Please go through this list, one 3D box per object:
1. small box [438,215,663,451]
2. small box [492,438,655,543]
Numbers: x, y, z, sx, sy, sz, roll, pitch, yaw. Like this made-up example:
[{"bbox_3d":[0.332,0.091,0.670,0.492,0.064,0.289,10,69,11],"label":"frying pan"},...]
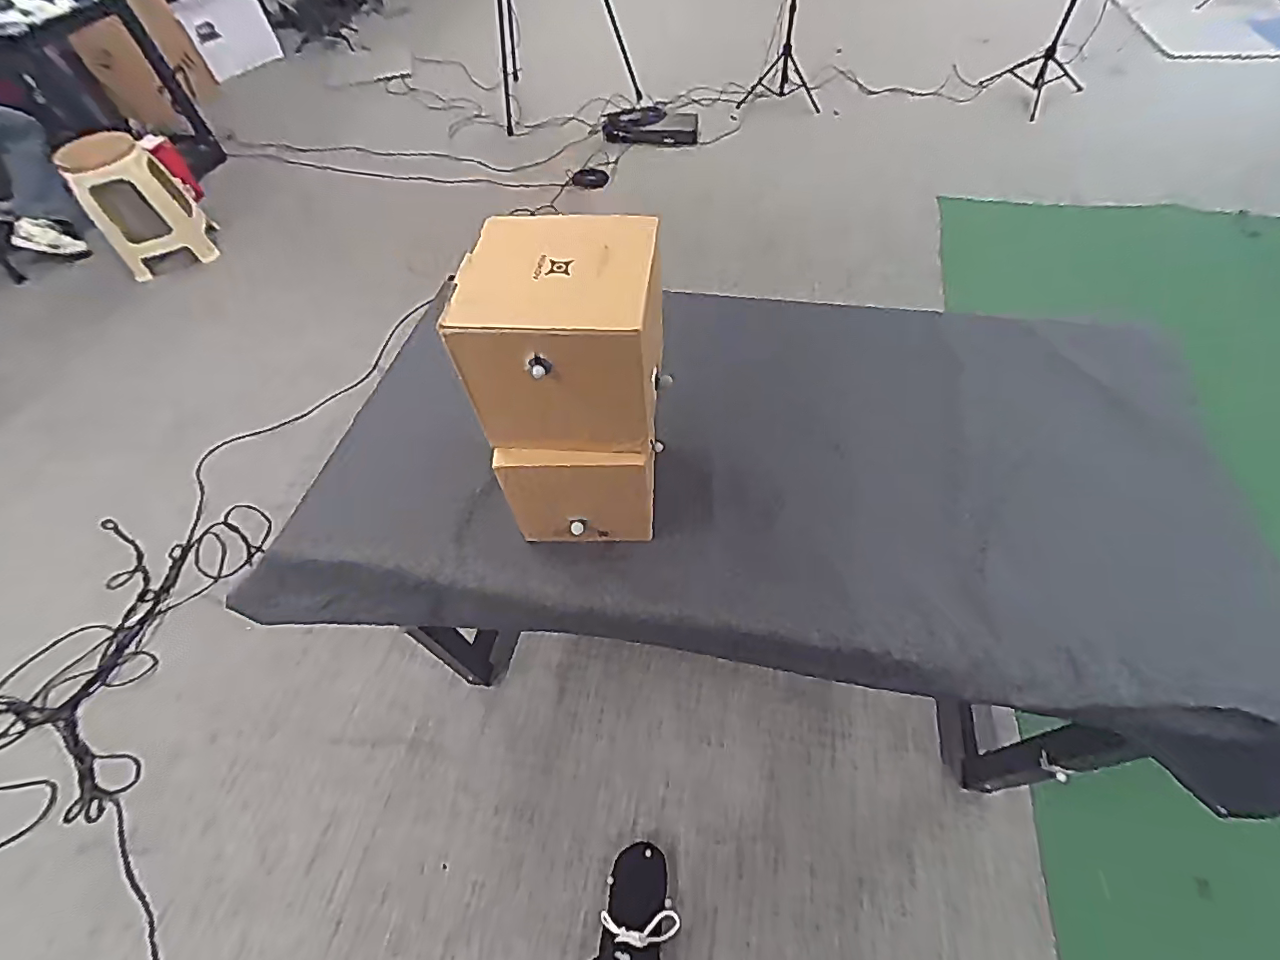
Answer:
[{"bbox_3d":[-0.071,-0.144,0.550,0.179,0.176,0.168,3,57,5],"label":"small box"},{"bbox_3d":[-0.068,-0.039,0.675,0.168,0.176,0.179,0,56,4],"label":"small box"}]
